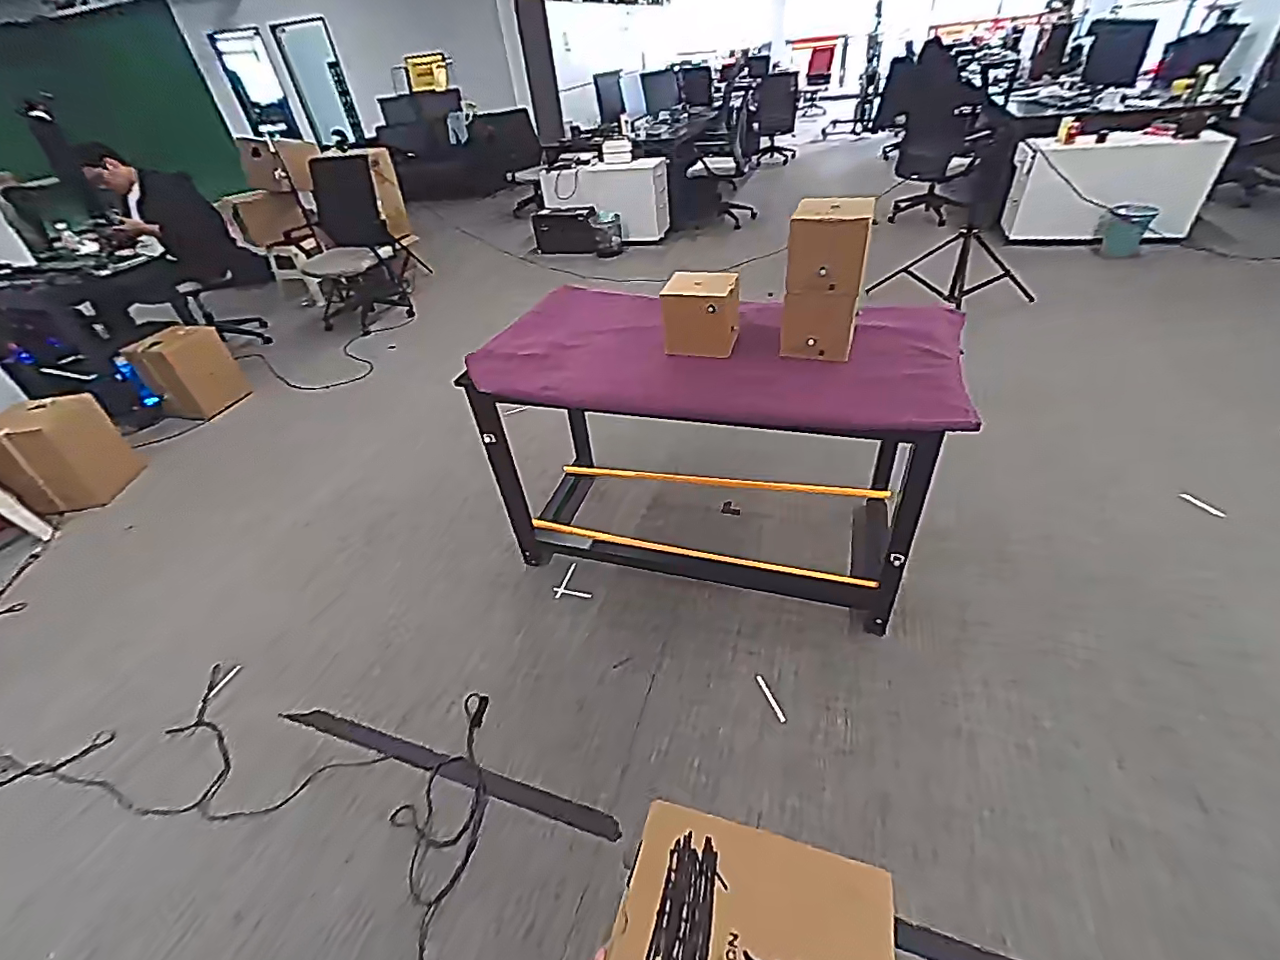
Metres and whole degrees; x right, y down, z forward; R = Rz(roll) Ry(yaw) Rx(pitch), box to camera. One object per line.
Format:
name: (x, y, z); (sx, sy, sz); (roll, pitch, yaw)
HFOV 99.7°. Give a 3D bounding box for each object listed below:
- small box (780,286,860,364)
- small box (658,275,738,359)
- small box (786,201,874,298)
small box: (0.452, -0.413, 1.367); (0.168, 0.176, 0.179); (10, 42, 20)
small box: (0.159, -0.433, 1.440); (0.179, 0.176, 0.168); (8, 41, 17)
small box: (0.439, -0.540, 1.262); (0.168, 0.176, 0.179); (9, 42, 20)
